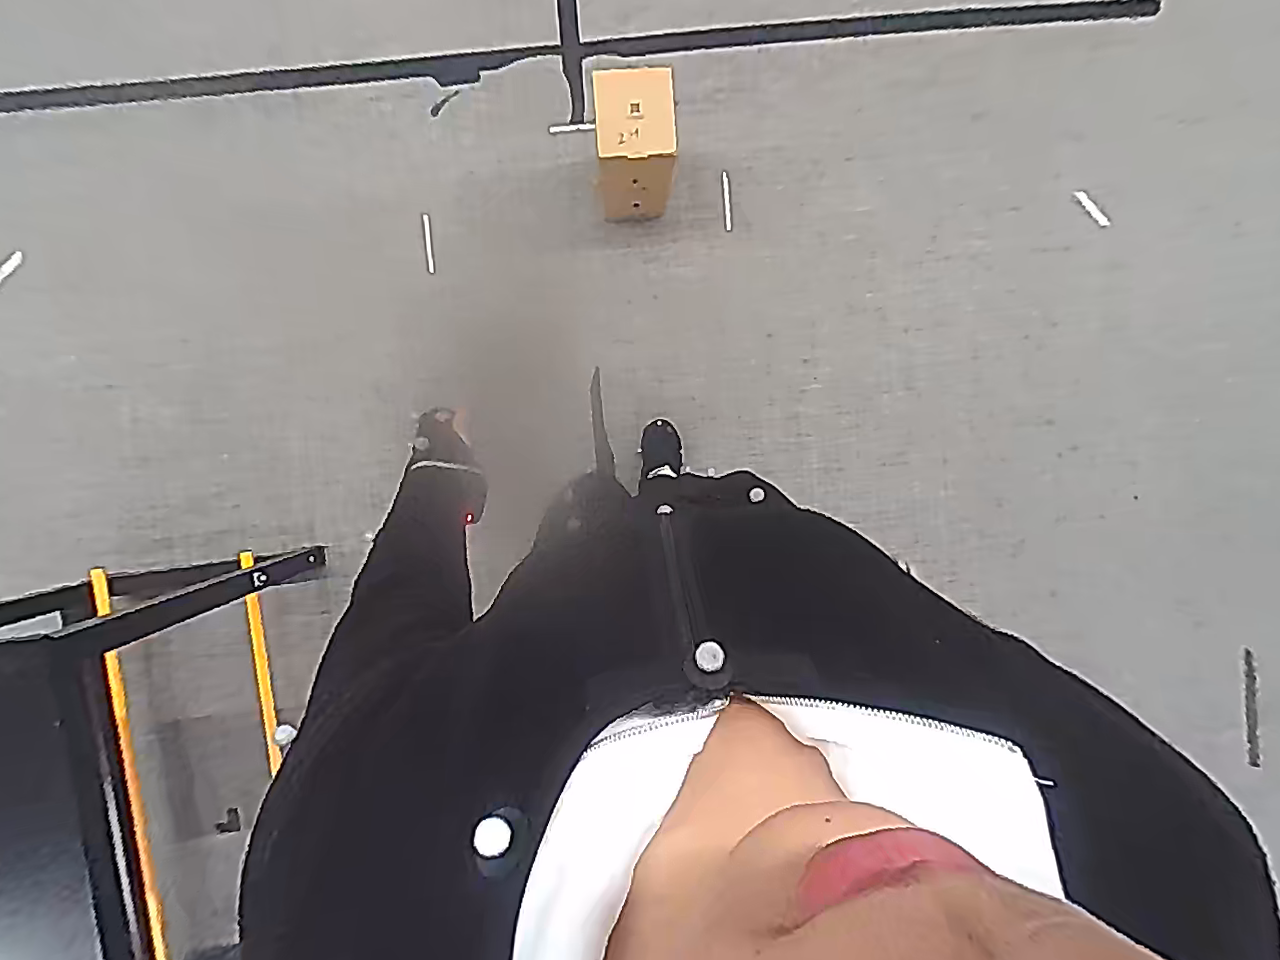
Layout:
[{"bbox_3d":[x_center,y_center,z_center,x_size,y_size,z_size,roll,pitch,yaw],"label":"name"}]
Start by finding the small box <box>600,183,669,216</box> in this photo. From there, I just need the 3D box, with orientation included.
[{"bbox_3d":[-0.020,-0.782,1.359,0.168,0.176,0.179,-6,95,-2],"label":"small box"}]

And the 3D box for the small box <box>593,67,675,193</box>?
[{"bbox_3d":[-0.016,-0.763,1.194,0.168,0.176,0.179,-4,94,-2],"label":"small box"}]
